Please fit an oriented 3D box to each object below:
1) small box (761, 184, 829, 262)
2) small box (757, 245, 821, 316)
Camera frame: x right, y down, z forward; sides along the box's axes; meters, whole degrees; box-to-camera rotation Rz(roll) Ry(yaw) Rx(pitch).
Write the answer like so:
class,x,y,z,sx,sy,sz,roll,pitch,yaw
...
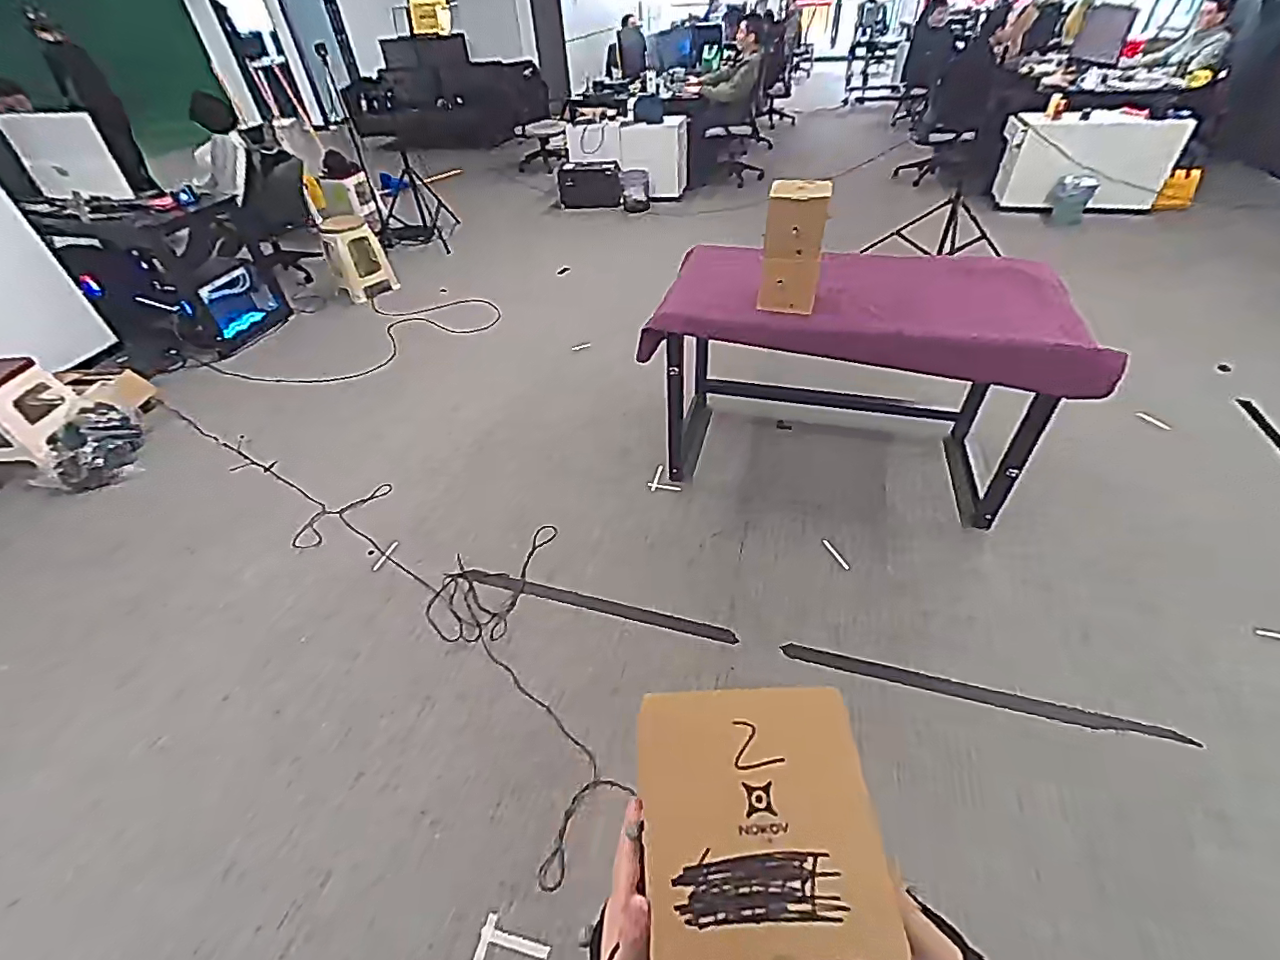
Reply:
class,x,y,z,sx,sy,sz,roll,pitch,yaw
small box,0.454,-0.753,1.587,0.168,0.176,0.179,9,44,13
small box,0.463,-0.628,1.693,0.168,0.176,0.179,10,43,15
